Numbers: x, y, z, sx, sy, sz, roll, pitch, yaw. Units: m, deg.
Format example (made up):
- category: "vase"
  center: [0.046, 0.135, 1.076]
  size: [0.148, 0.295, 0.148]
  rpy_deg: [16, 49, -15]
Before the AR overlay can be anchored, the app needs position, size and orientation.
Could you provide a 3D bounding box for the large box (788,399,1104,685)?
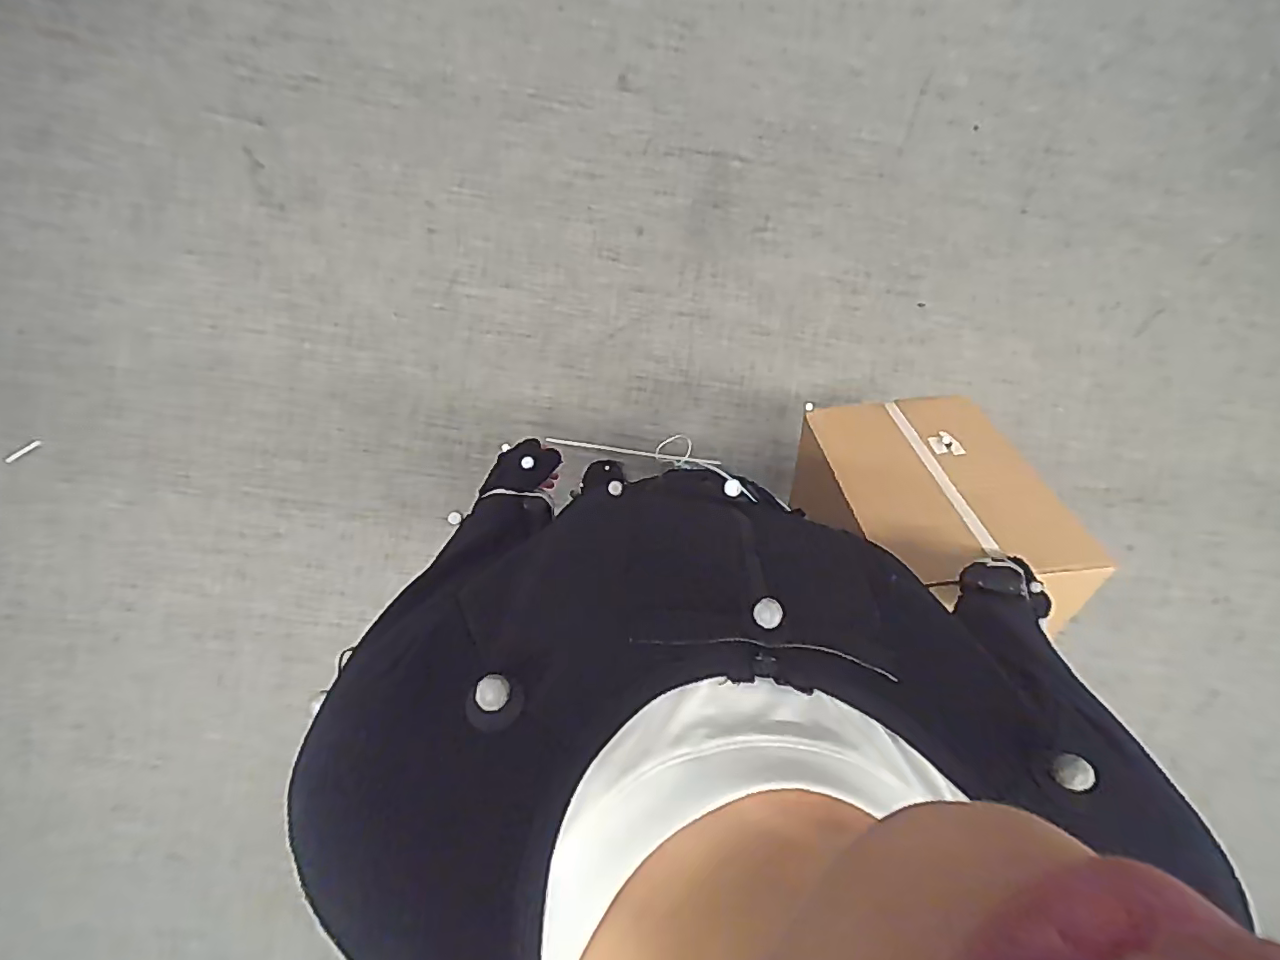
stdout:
- category: "large box"
  center: [0.489, 0.104, 0.988]
  size: [0.320, 0.408, 0.320]
  rpy_deg: [-5, 133, -1]
